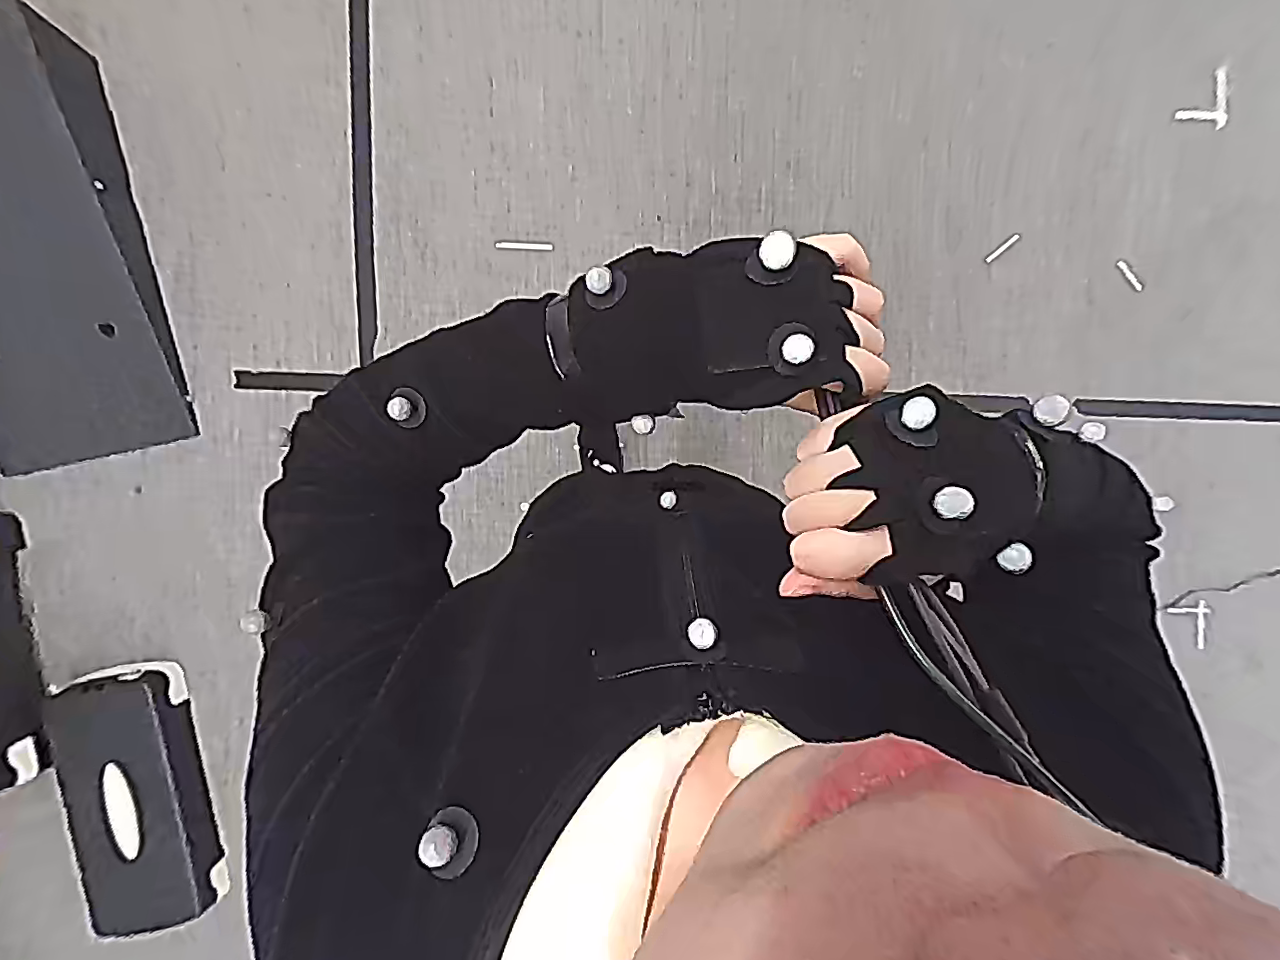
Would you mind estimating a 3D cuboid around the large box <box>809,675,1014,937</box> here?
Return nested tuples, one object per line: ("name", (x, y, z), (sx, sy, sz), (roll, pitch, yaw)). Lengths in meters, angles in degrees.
("large box", (0.603, 0.718, 1.250), (0.320, 0.320, 0.408), (-4, 94, -3))
